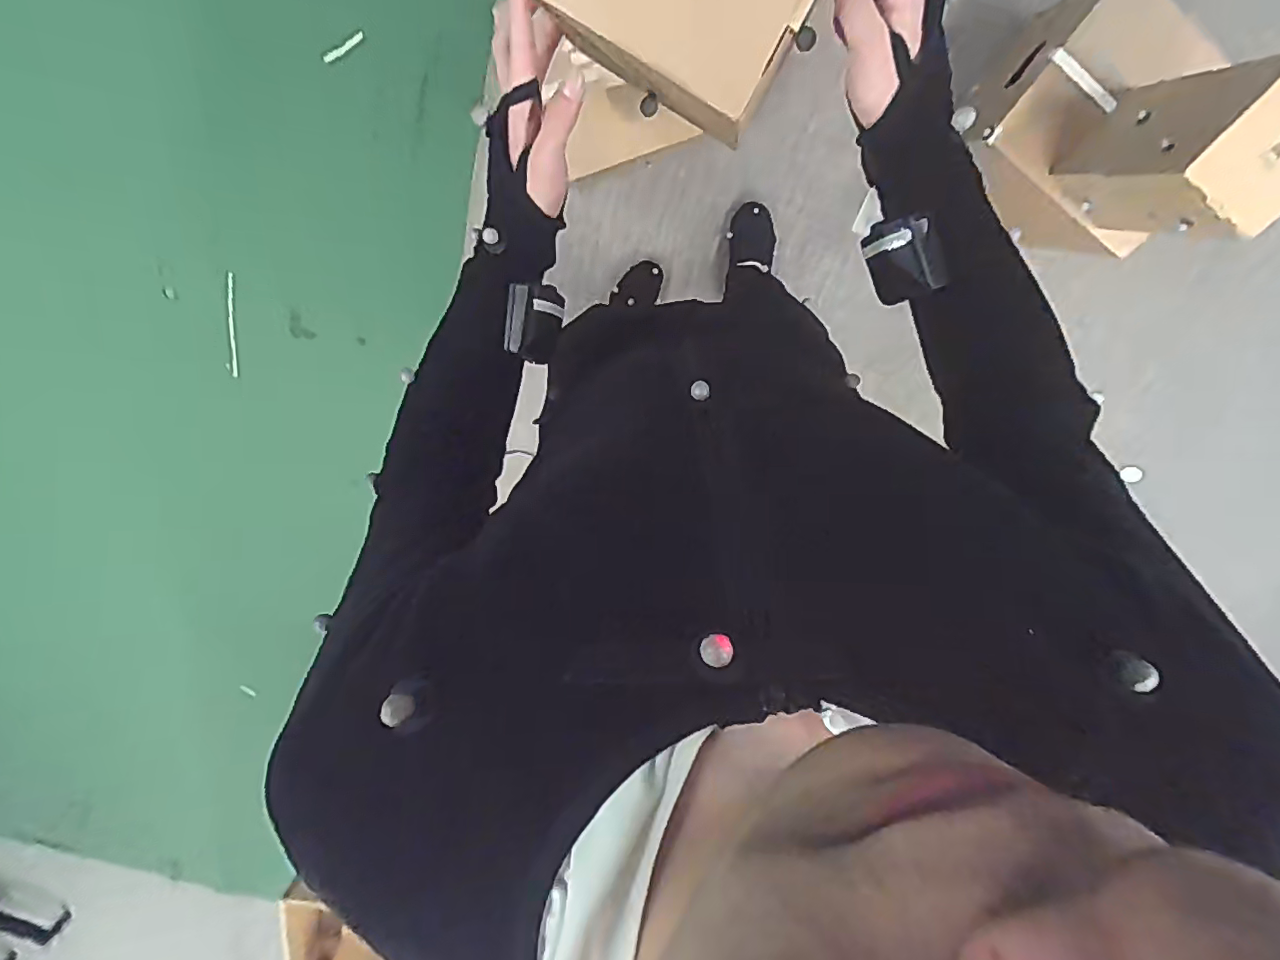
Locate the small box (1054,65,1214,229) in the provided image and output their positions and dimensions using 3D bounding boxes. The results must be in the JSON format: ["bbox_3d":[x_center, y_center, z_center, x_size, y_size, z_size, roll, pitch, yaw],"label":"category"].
[{"bbox_3d":[0.904,-0.579,0.960,0.168,0.176,0.179,34,116,-13],"label":"small box"}]

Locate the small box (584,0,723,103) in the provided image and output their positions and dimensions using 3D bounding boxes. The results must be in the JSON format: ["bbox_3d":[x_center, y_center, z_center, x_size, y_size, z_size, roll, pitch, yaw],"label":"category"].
[{"bbox_3d":[0.016,-0.677,0.786,0.179,0.176,0.168,-10,115,9],"label":"small box"}]

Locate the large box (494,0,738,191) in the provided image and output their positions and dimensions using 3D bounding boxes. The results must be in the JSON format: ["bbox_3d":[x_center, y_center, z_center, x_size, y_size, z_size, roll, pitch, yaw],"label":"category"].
[{"bbox_3d":[-0.029,-0.856,1.160,0.408,0.320,0.320,-14,114,12],"label":"large box"}]

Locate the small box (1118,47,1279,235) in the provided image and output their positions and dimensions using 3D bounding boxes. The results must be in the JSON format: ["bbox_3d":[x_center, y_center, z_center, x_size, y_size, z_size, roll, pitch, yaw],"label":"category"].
[{"bbox_3d":[0.887,-0.501,0.818,0.168,0.176,0.179,32,115,-12],"label":"small box"}]
